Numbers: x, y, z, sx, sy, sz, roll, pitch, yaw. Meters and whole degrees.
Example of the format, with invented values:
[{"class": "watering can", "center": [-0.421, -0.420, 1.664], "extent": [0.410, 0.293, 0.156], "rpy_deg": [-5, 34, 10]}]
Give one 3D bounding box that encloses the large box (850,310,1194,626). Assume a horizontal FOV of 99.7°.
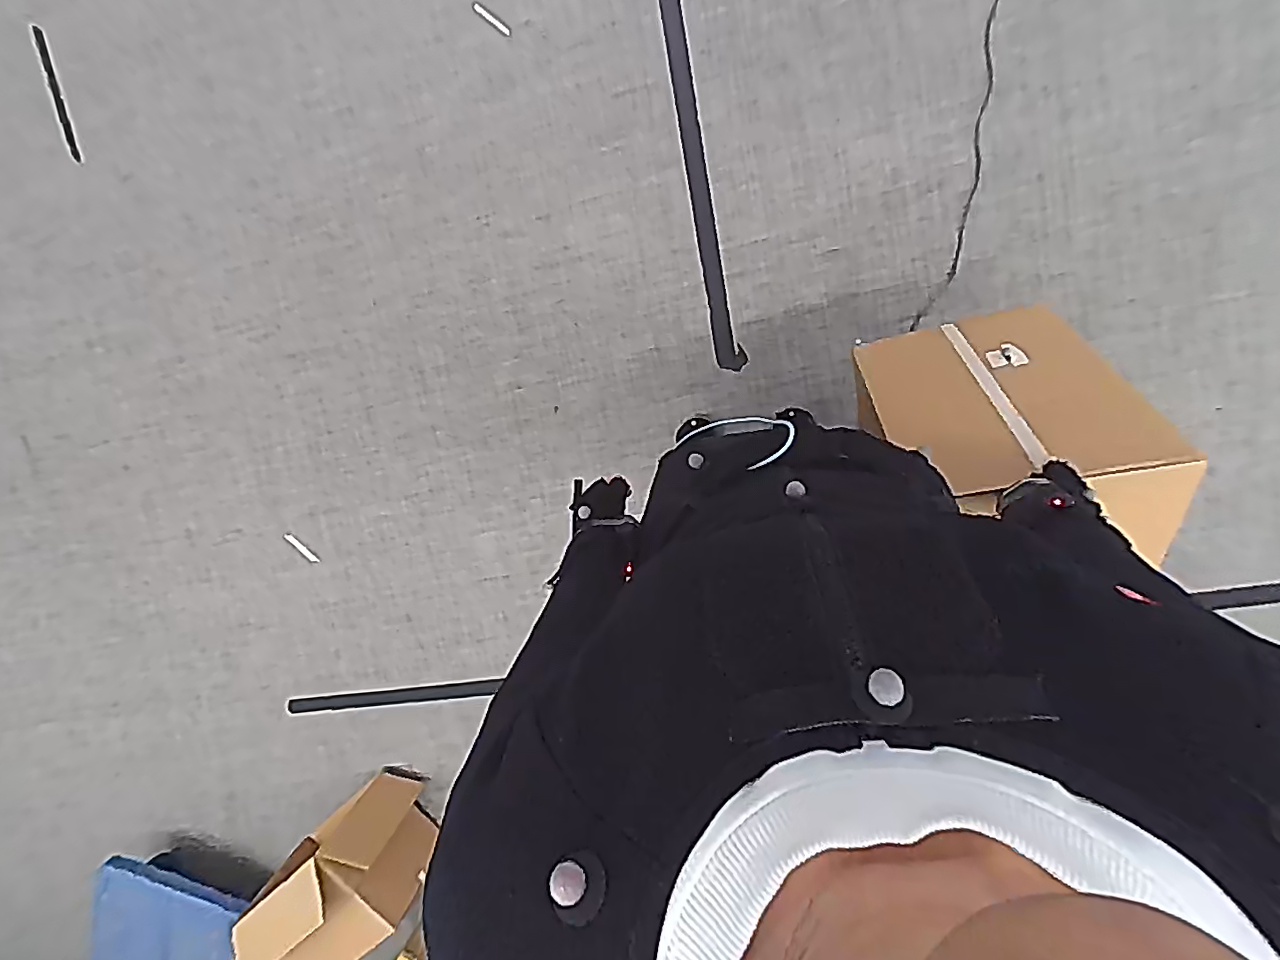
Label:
[{"class": "large box", "center": [0.566, -0.023, 0.905], "extent": [0.320, 0.408, 0.320], "rpy_deg": [-10, 130, 15]}]
